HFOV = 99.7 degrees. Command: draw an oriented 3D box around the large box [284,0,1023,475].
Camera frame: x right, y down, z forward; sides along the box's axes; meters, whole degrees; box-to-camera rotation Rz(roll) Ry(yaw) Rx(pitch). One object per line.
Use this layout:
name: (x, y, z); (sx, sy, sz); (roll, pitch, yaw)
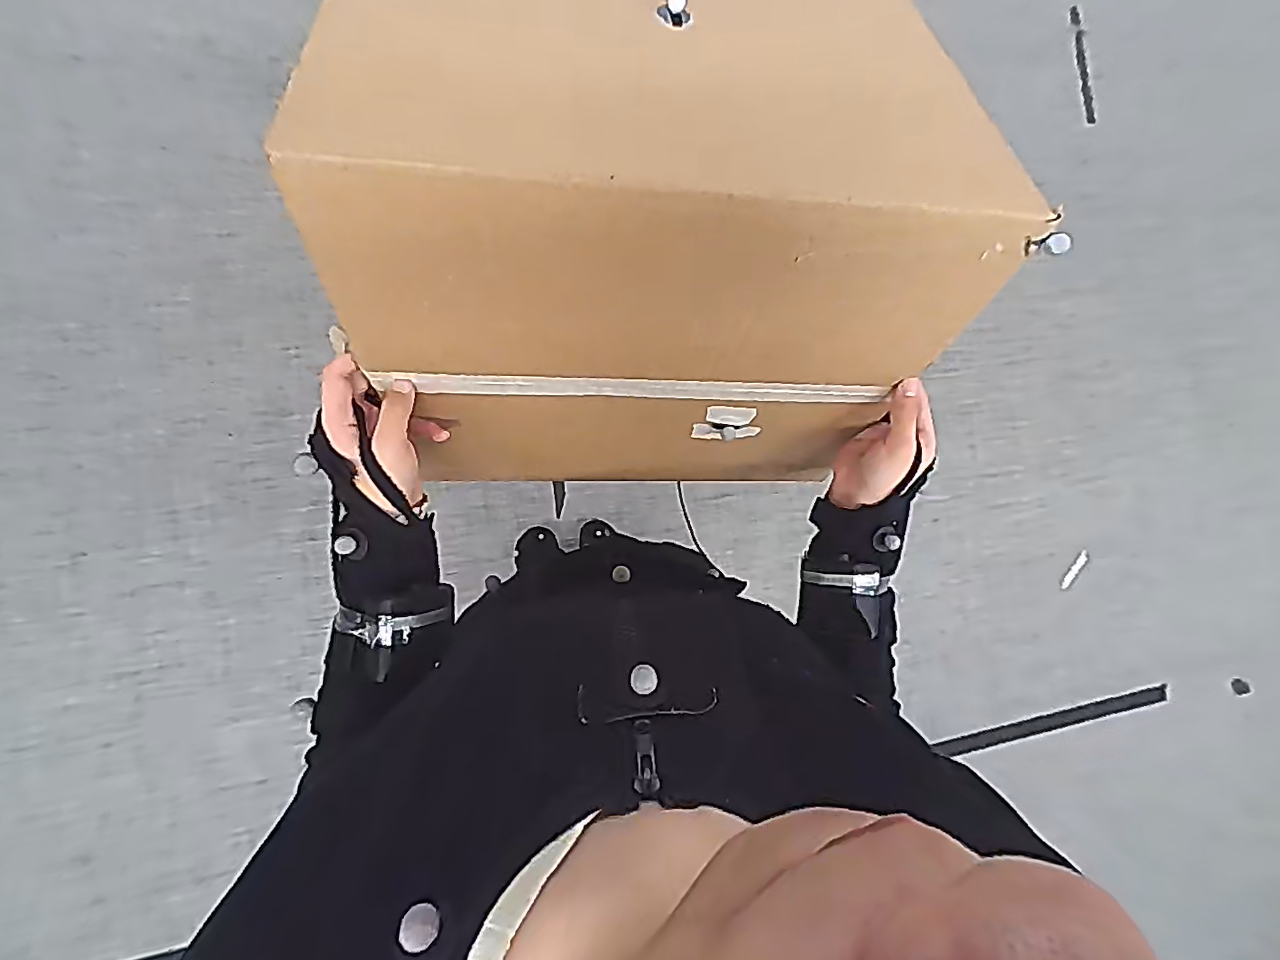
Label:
large box: (-0.007, -0.214, 0.480); (0.408, 0.320, 0.320); (-1, 63, -9)
